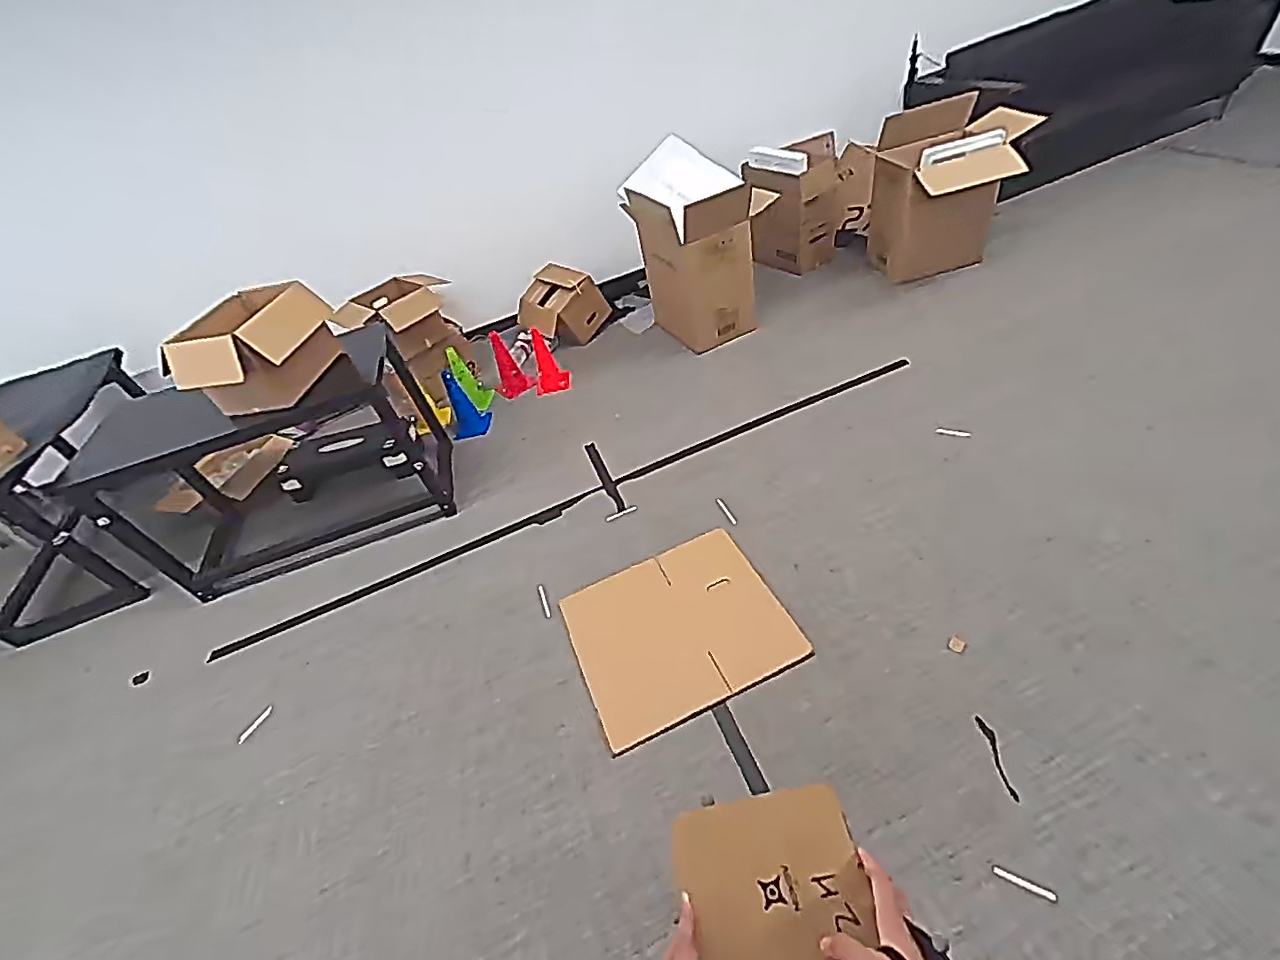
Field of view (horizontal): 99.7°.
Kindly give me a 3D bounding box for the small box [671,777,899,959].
[{"bbox_3d":[0.134,0.442,0.574,0.179,0.176,0.168,-8,49,-7],"label":"small box"}]
